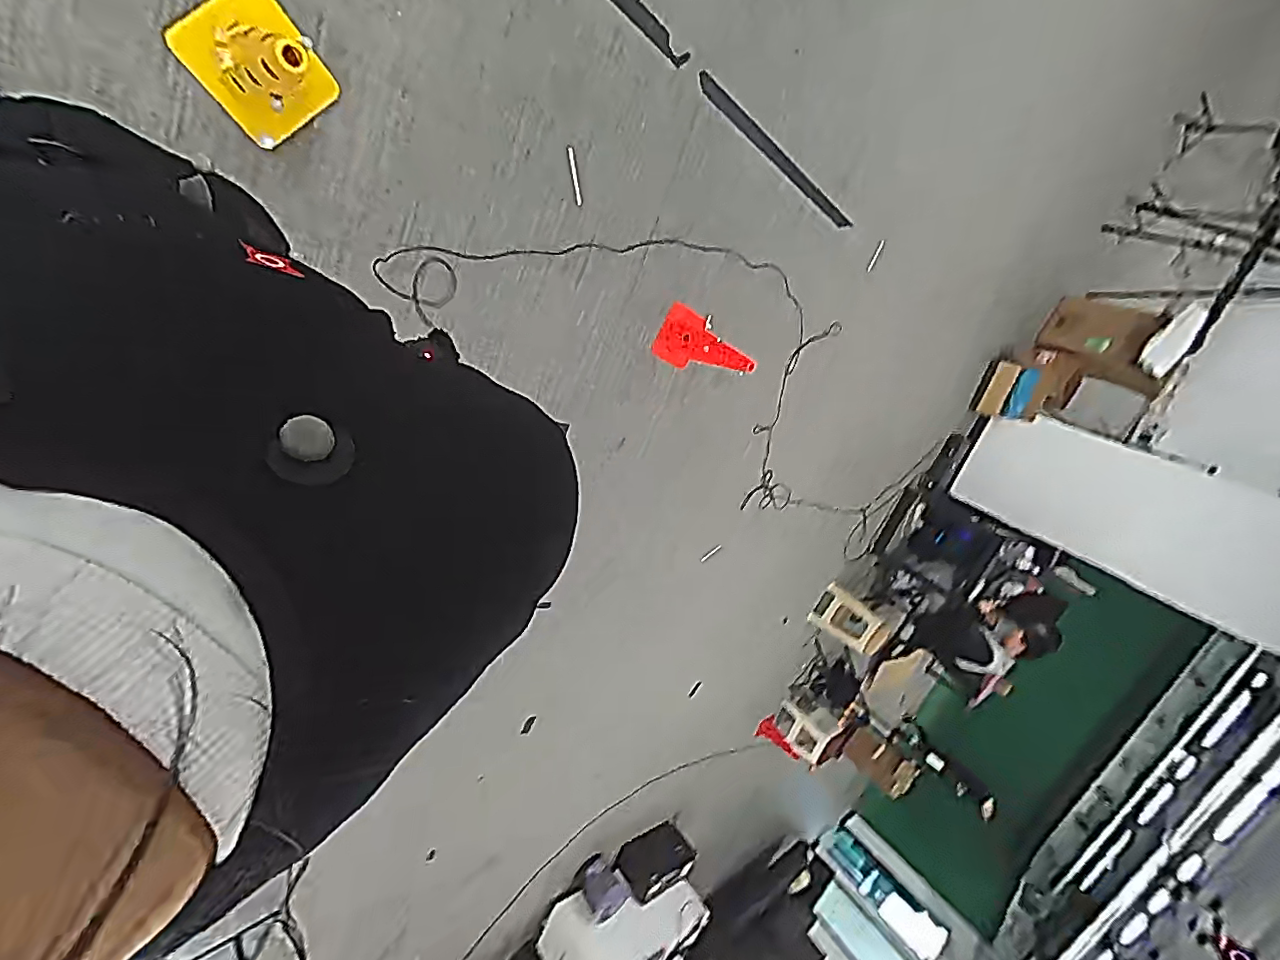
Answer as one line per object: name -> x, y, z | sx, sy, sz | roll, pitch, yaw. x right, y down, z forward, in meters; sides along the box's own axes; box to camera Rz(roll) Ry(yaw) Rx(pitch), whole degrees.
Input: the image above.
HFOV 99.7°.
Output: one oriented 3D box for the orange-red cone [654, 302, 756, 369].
orange-red cone -> 0.248, -0.444, 1.832 | 0.199, 0.360, 0.198 | 18, 103, -46
